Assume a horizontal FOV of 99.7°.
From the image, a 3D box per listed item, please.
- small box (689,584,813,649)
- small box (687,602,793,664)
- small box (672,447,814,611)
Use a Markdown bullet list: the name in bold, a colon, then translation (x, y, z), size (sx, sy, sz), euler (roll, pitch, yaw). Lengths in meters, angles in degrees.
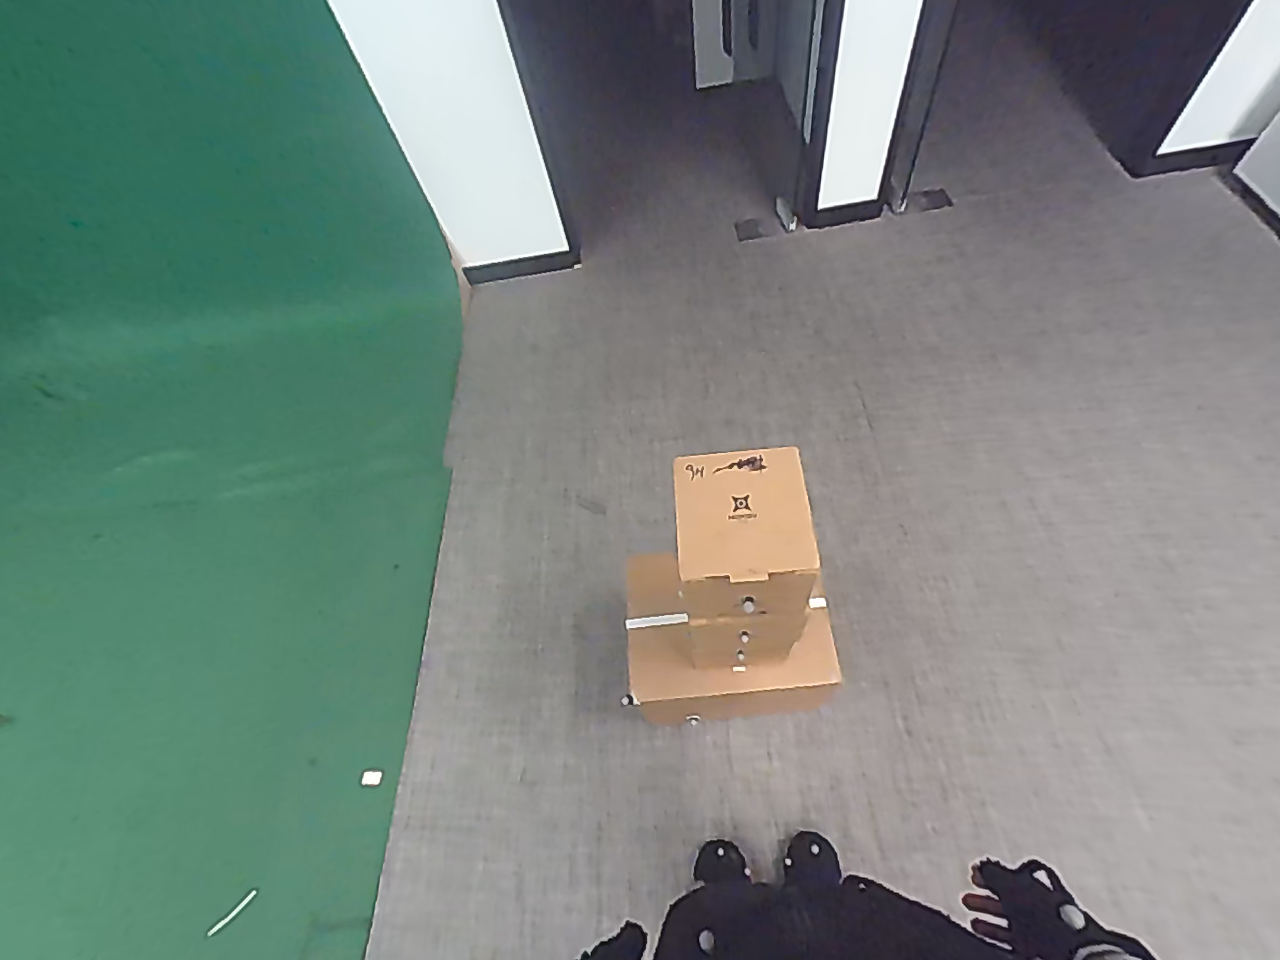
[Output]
- **small box**: translation (0.163, 0.167, 0.878), size (0.179, 0.176, 0.168), euler (-9, 59, 4)
- **small box**: translation (0.181, 0.245, 1.021), size (0.179, 0.176, 0.168), euler (-6, 60, 5)
- **small box**: translation (0.137, 0.077, 0.743), size (0.168, 0.176, 0.179), euler (-5, 60, 8)
